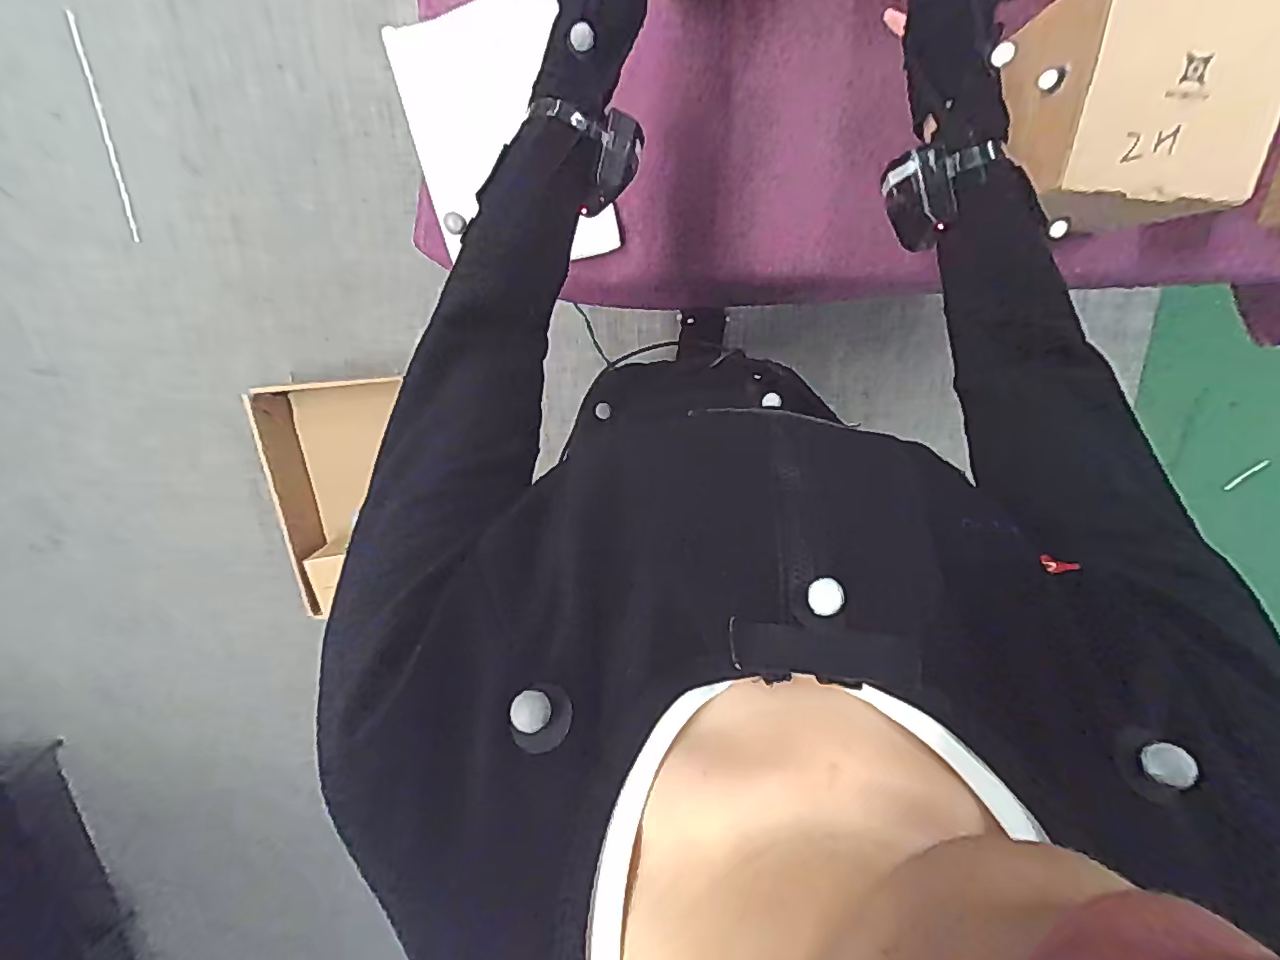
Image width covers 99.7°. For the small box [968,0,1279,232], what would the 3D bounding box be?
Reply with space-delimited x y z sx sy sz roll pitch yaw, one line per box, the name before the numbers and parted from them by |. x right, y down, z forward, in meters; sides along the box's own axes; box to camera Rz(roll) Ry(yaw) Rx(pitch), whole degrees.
small box | 0.454 -0.353 0.521 0.168 0.176 0.179 5 107 1
